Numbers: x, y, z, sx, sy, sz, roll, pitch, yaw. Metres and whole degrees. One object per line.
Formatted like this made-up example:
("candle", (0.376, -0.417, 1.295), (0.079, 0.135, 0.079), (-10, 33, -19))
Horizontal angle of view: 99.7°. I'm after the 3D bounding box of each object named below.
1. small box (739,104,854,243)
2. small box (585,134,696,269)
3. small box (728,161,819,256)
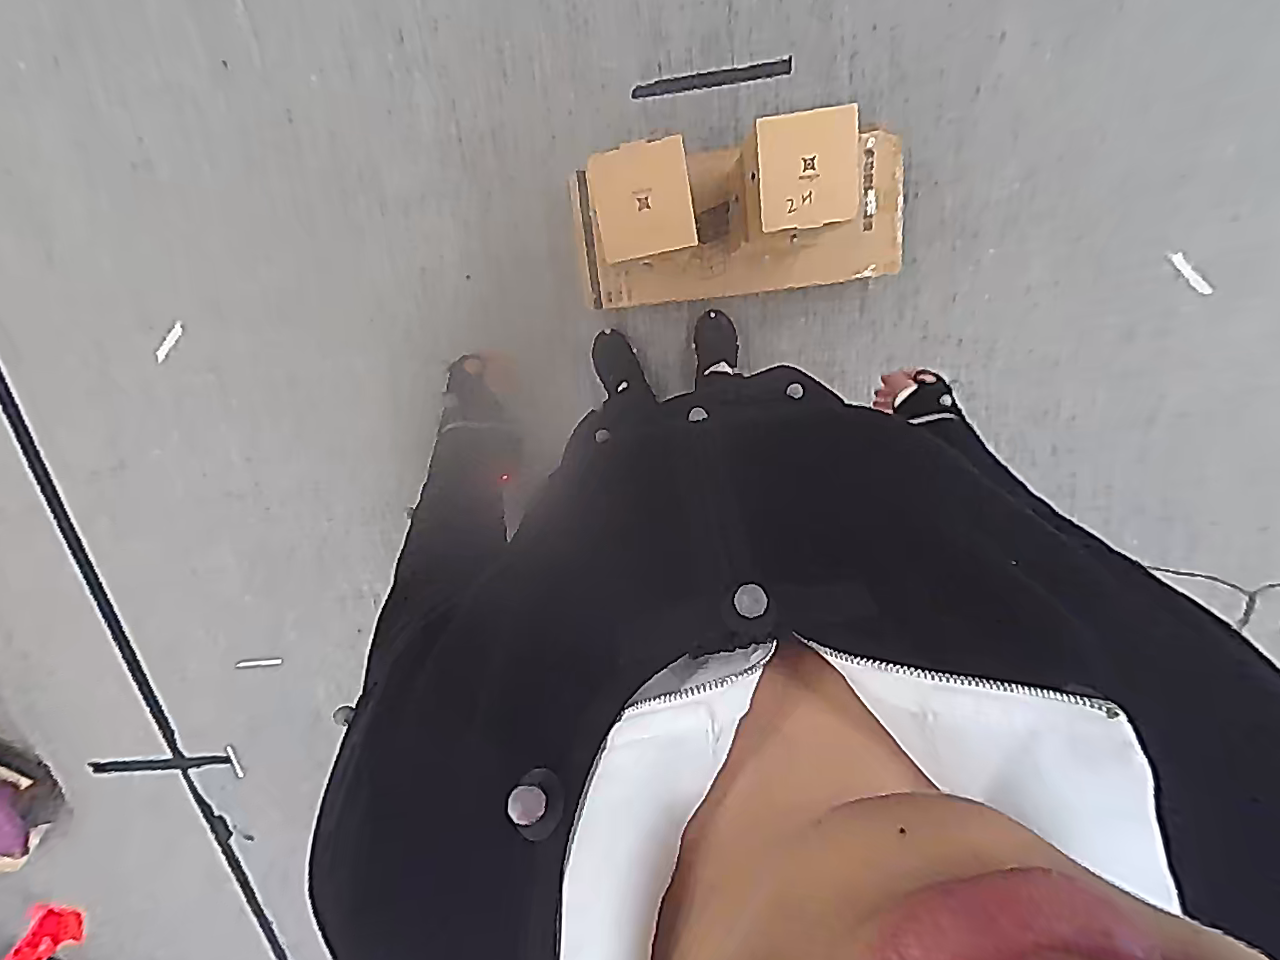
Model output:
("small box", (0.276, -0.542, 0.979), (0.168, 0.176, 0.179), (-6, 108, 4))
("small box", (0.003, -0.501, 0.999), (0.168, 0.176, 0.179), (-11, 108, 5))
("small box", (0.277, -0.578, 1.142), (0.168, 0.176, 0.179), (-2, 108, 3))
